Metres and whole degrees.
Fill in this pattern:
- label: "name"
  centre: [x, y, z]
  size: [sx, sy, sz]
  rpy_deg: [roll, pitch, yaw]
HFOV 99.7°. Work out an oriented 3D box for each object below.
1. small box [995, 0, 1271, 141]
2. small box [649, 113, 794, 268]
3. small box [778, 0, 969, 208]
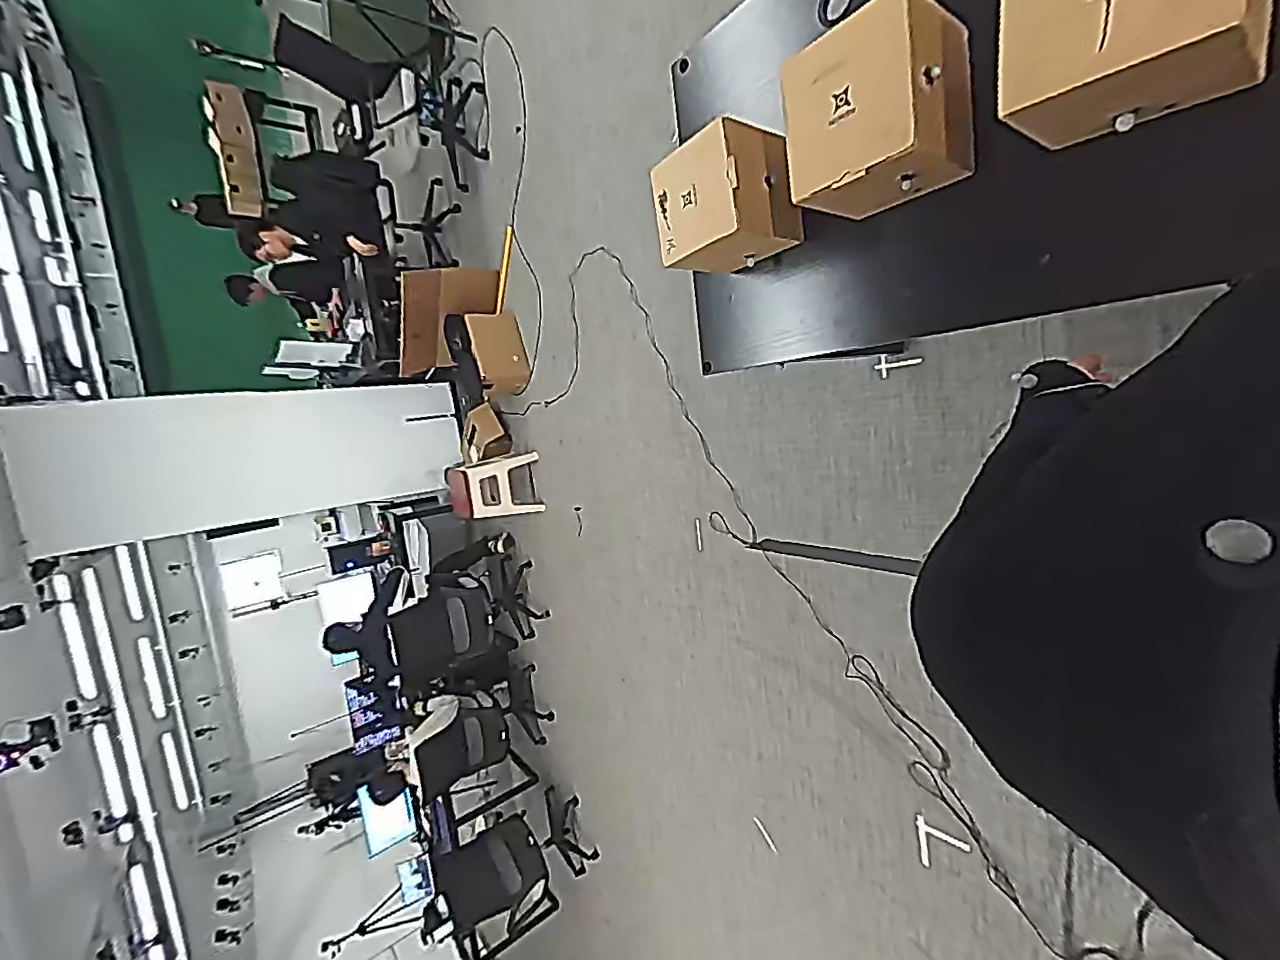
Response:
- label: "small box"
  centre: [0.454, -0.451, 0.498]
  size: [0.168, 0.176, 0.179]
  rpy_deg: [8, 107, 52]
- label: "small box"
  centre: [0.141, -0.467, 0.903]
  size: [0.179, 0.176, 0.168]
  rpy_deg: [-1, 98, 52]
- label: "small box"
  centre: [0.302, -0.470, 0.695]
  size: [0.168, 0.176, 0.179]
  rpy_deg: [1, 100, 52]
